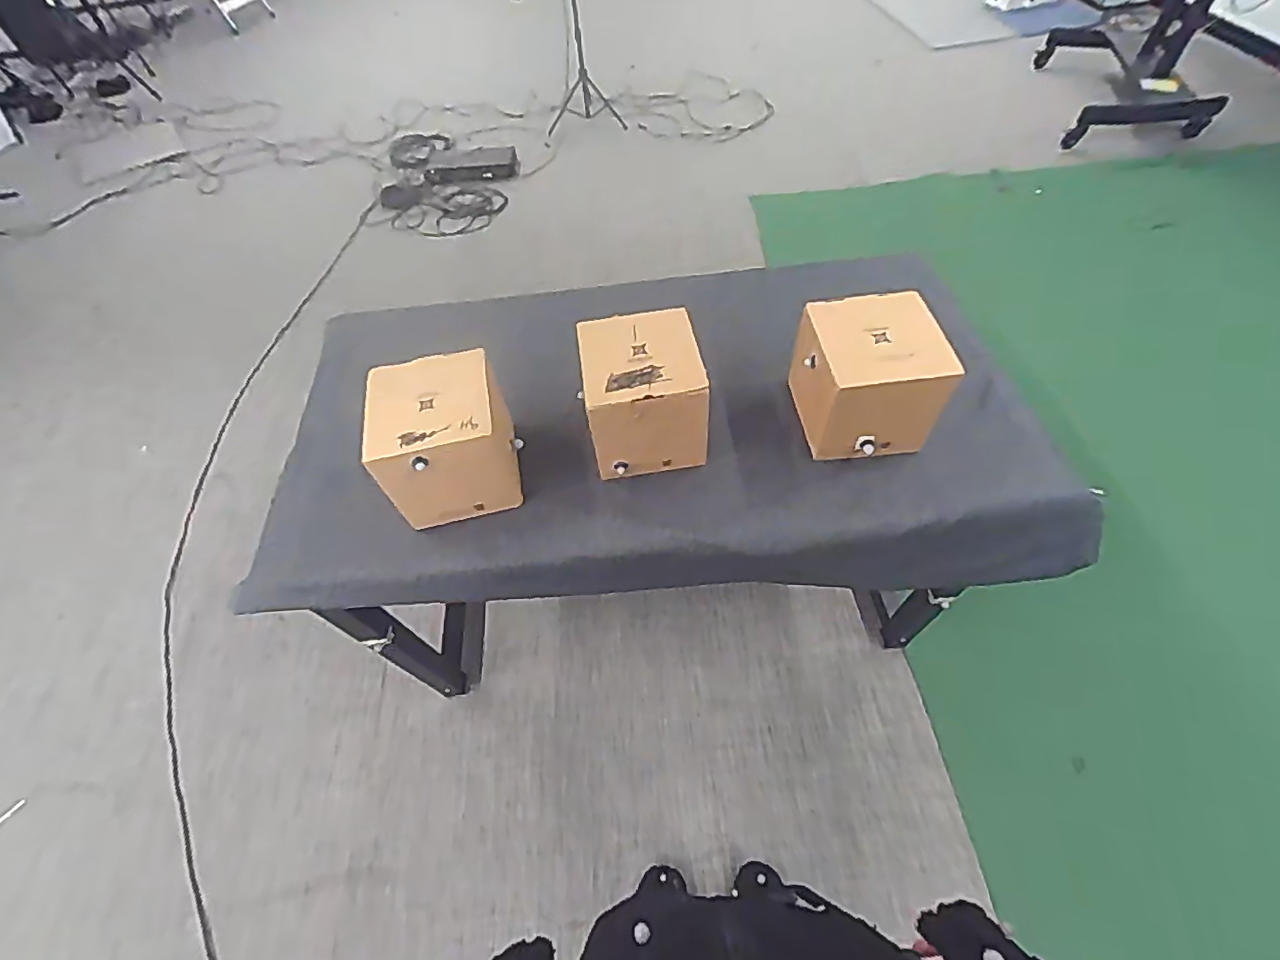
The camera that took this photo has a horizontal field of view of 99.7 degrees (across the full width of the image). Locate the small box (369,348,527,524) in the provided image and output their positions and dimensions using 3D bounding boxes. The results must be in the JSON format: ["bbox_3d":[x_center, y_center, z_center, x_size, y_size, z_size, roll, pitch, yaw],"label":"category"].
[{"bbox_3d":[-0.272,-0.063,0.797,0.168,0.176,0.179,-13,54,-4],"label":"small box"}]

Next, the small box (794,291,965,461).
[{"bbox_3d":[0.340,-0.152,0.812,0.168,0.176,0.179,-8,56,2],"label":"small box"}]

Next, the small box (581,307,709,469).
[{"bbox_3d":[0.009,-0.131,0.823,0.168,0.176,0.179,-8,54,-1],"label":"small box"}]
